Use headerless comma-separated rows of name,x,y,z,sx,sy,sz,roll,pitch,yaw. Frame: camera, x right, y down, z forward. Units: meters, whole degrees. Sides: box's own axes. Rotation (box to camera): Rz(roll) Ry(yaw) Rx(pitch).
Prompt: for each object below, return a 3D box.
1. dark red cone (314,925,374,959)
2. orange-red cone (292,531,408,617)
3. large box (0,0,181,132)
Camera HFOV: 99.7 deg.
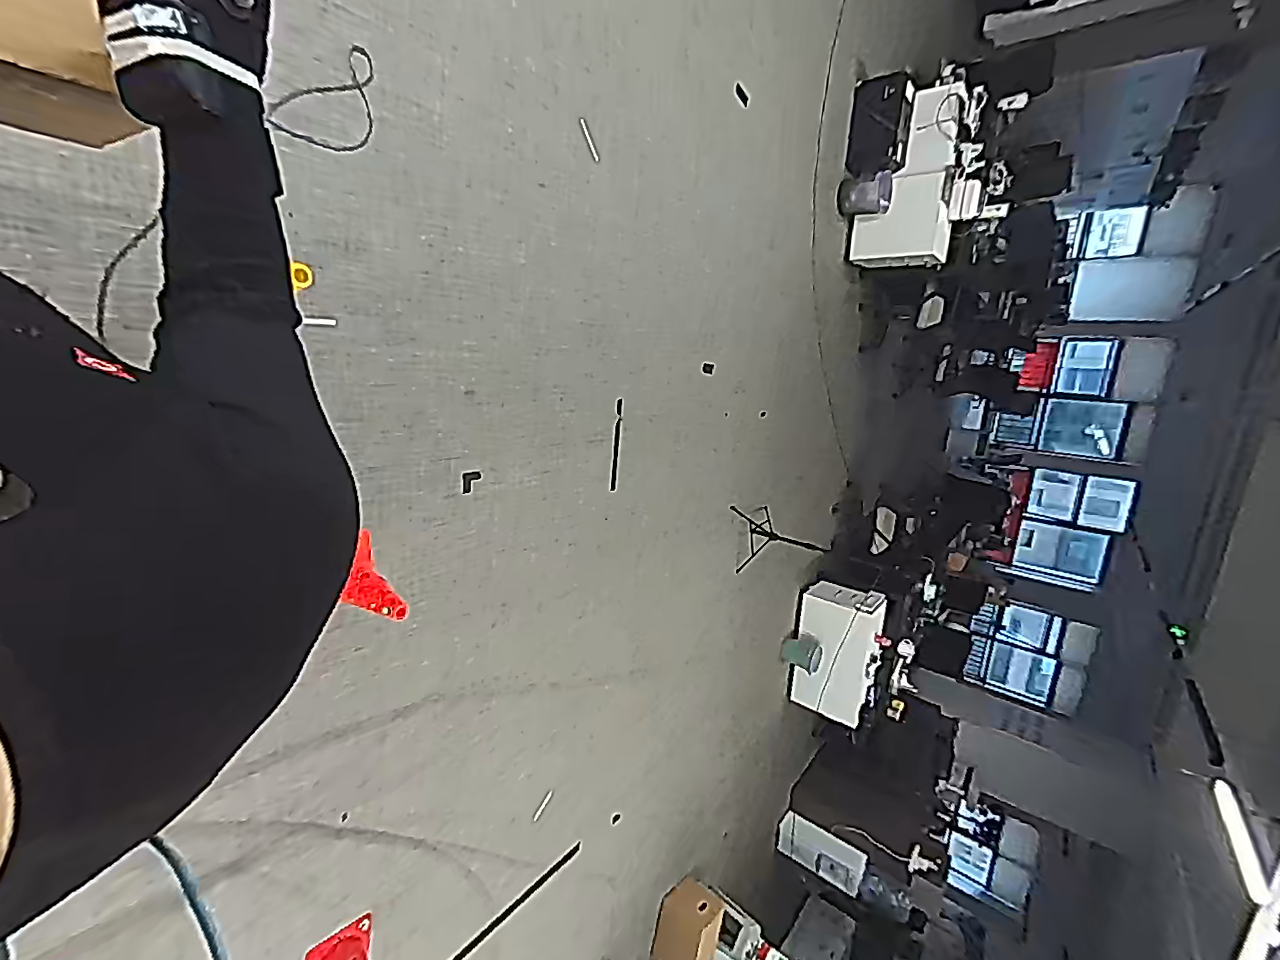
dark red cone,-0.813,1.557,1.589,0.201,0.394,0.202,-2,102,-51
orange-red cone,-0.705,0.277,1.381,0.198,0.360,0.199,-16,111,-50
large box,-0.560,-0.440,0.290,0.408,0.320,0.320,-12,116,-52
